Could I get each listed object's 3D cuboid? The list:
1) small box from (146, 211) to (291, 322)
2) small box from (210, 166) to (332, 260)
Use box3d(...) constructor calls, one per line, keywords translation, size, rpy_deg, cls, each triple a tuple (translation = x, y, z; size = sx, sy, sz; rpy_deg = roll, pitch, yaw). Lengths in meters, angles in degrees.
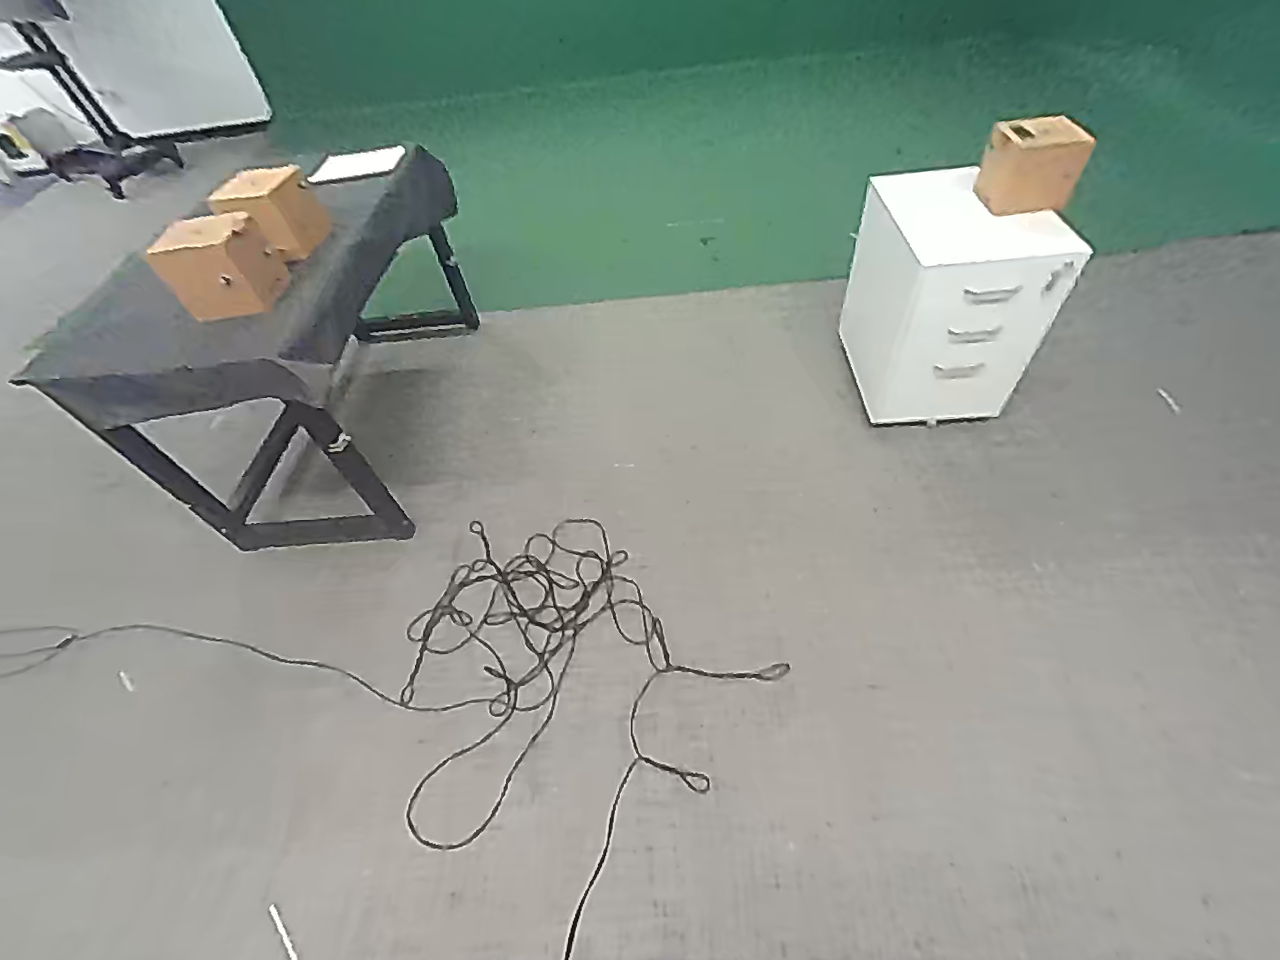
box3d(translation=(-0.956, -0.490, 1.249), size=(0.179, 0.176, 0.168), rpy_deg=(-9, 49, 2), cls="small box")
box3d(translation=(-0.950, -0.690, 1.414), size=(0.168, 0.176, 0.179), rpy_deg=(-2, 50, 7), cls="small box")
